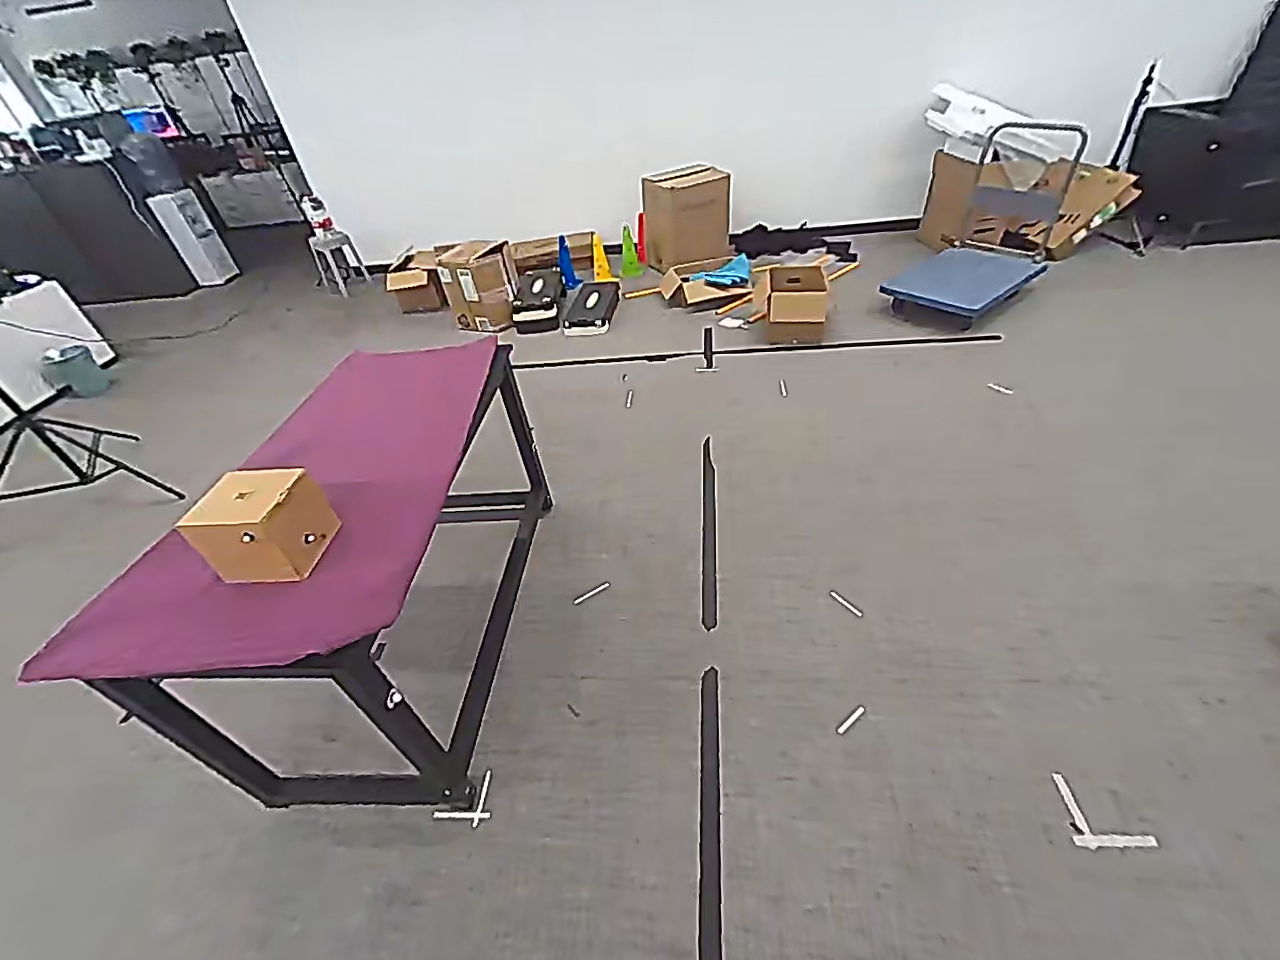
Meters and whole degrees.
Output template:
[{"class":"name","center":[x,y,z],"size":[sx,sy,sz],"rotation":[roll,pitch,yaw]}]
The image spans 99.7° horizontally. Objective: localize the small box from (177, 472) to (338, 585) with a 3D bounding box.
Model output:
[{"class":"small box","center":[-0.772,0.102,1.114],"size":[0.179,0.176,0.168],"rotation":[-3,39,5]}]
